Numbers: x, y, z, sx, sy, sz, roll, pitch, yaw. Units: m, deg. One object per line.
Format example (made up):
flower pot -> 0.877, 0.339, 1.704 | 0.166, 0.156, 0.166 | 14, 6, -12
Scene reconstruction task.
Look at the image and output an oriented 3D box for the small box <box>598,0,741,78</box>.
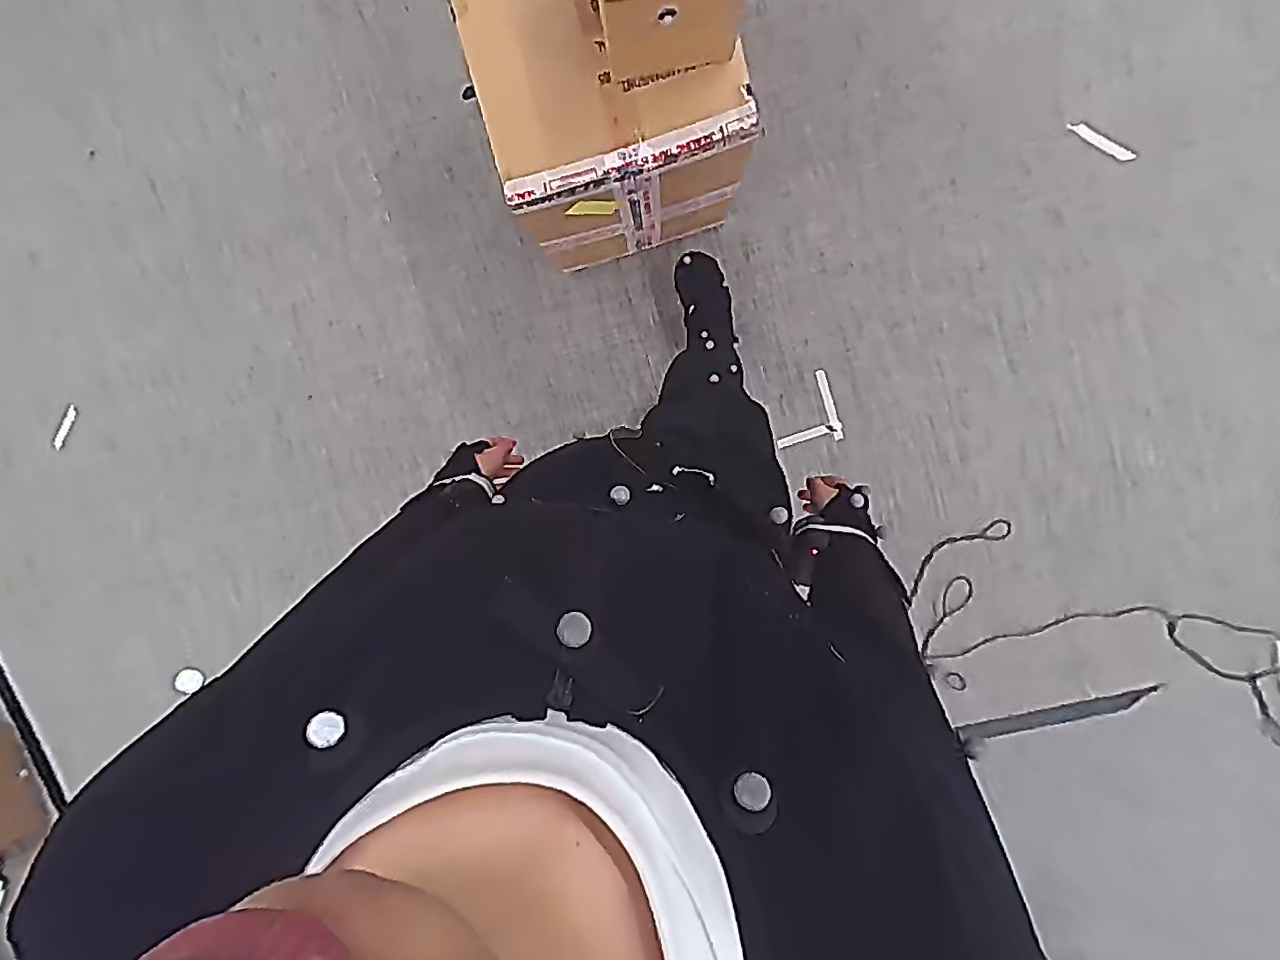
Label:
small box -> 0.029, -0.641, 0.671 | 0.179, 0.176, 0.168 | -10, 100, 2
